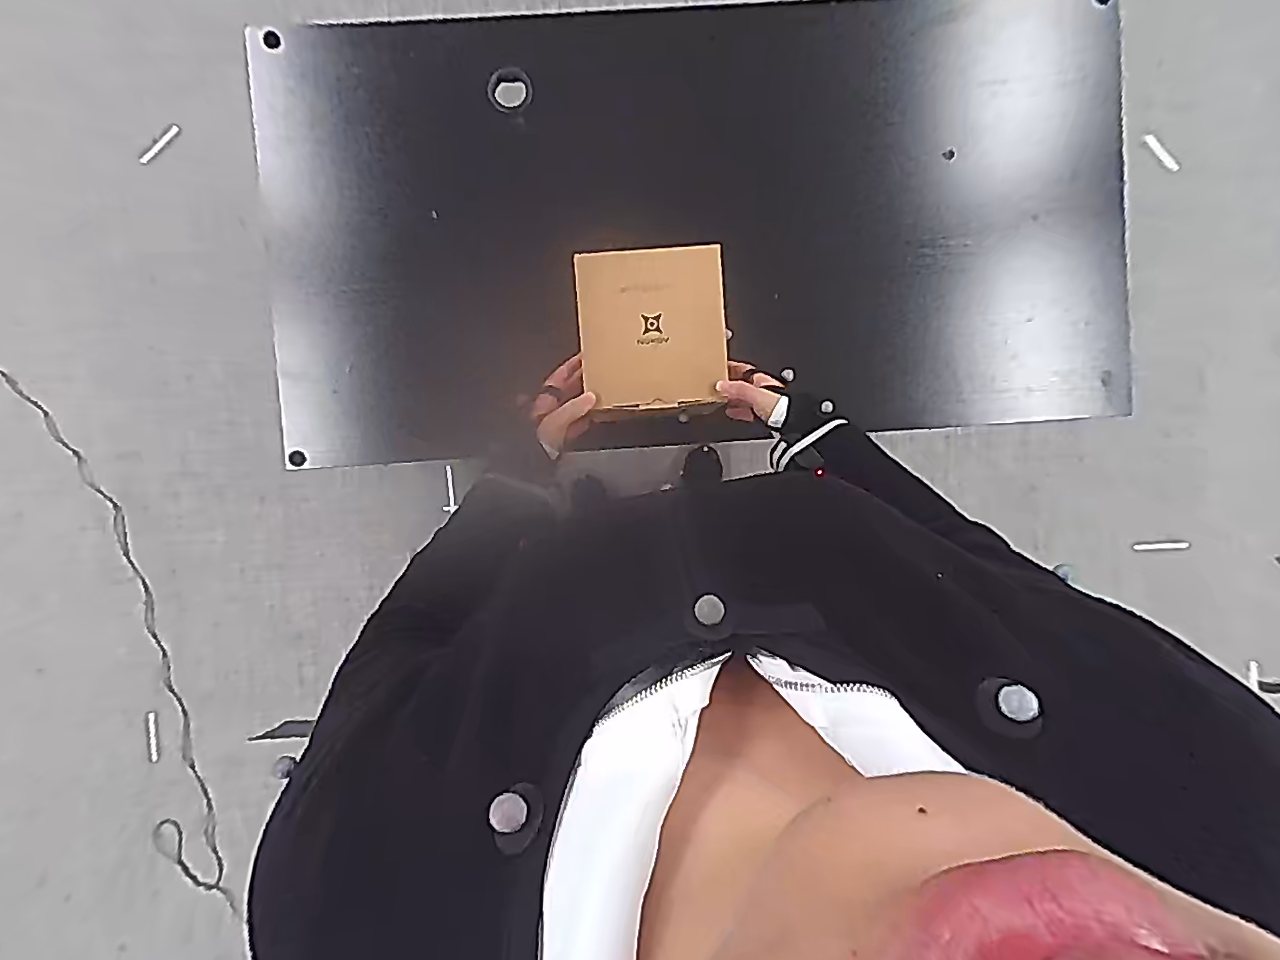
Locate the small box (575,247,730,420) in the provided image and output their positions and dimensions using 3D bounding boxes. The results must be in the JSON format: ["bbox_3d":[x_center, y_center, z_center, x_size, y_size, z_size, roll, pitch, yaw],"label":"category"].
[{"bbox_3d":[0.012,-0.169,0.677,0.168,0.176,0.179,-5,92,-2],"label":"small box"}]
